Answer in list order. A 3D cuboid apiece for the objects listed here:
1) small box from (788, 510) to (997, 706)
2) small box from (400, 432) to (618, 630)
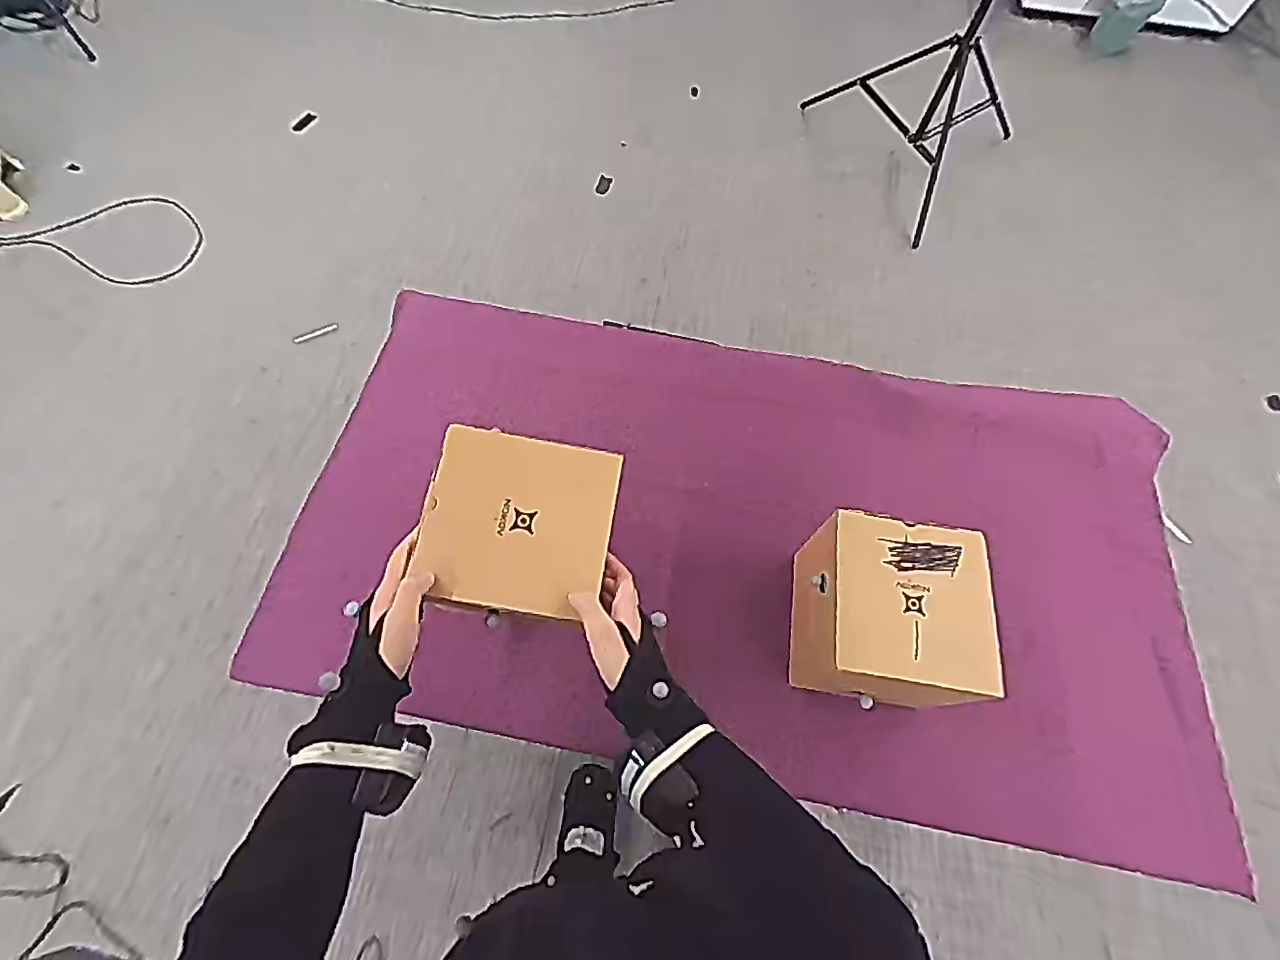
[{"bbox_3d":[0.280,0.158,0.641,0.168,0.176,0.179,9,64,3],"label":"small box"},{"bbox_3d":[-0.127,0.067,0.590,0.179,0.176,0.168,10,71,-3],"label":"small box"}]
